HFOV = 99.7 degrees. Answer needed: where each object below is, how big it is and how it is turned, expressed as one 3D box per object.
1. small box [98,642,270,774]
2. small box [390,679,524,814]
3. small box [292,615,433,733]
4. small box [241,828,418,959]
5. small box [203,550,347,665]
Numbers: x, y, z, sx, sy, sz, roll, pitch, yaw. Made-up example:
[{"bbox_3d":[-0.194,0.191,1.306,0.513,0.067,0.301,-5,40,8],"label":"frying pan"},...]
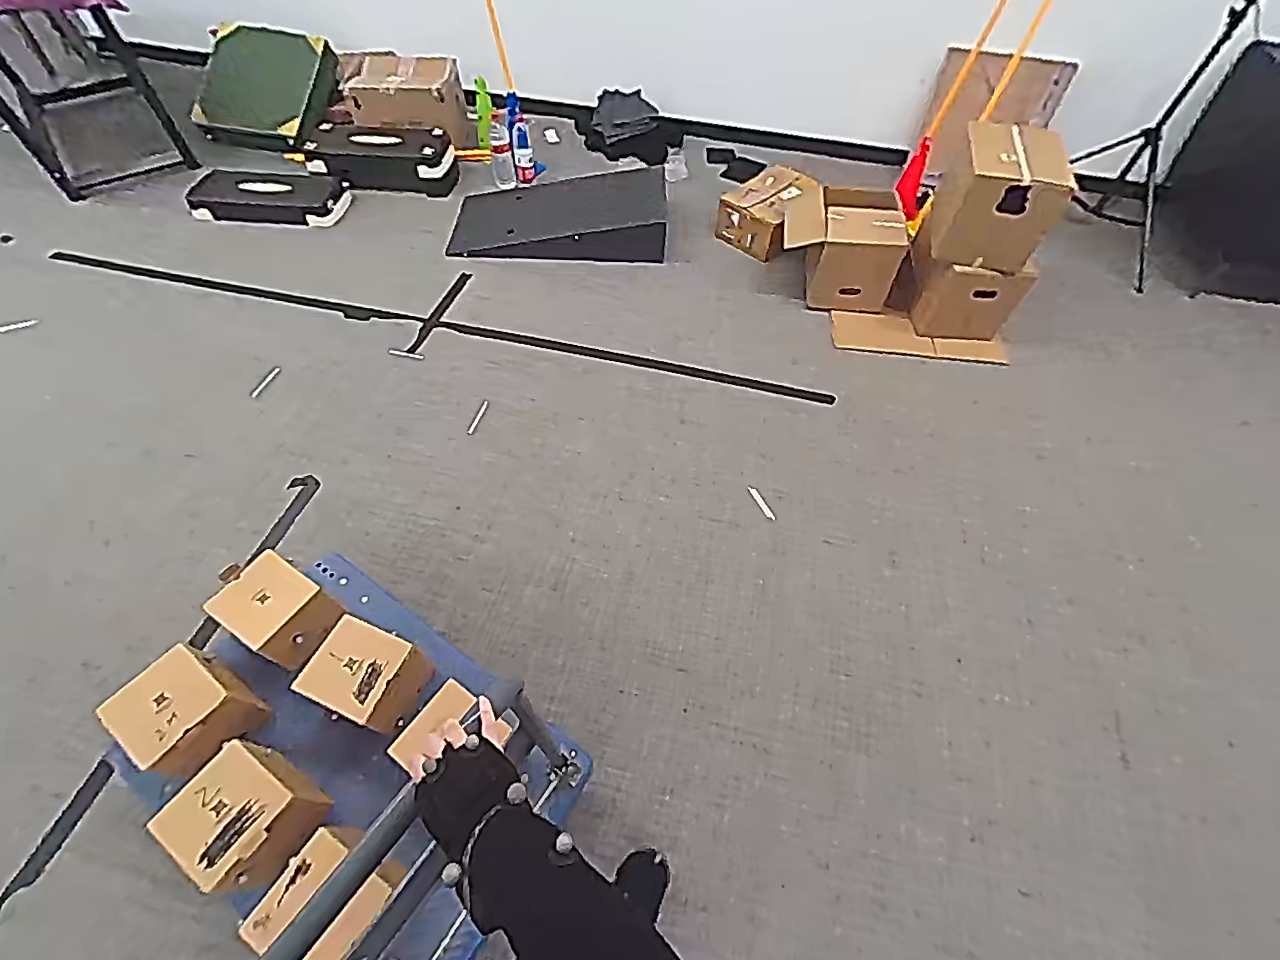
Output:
[{"bbox_3d":[-0.908,0.467,1.092,0.179,0.176,0.168,33,60,17],"label":"small box"},{"bbox_3d":[-0.353,0.535,1.081,0.179,0.176,0.168,31,59,18],"label":"small box"},{"bbox_3d":[-0.573,0.417,1.146,0.179,0.176,0.168,19,57,11],"label":"small box"},{"bbox_3d":[-0.518,0.735,0.933,0.179,0.176,0.168,28,58,15],"label":"small box"},{"bbox_3d":[-0.806,0.295,1.217,0.179,0.176,0.168,28,59,15],"label":"small box"}]
